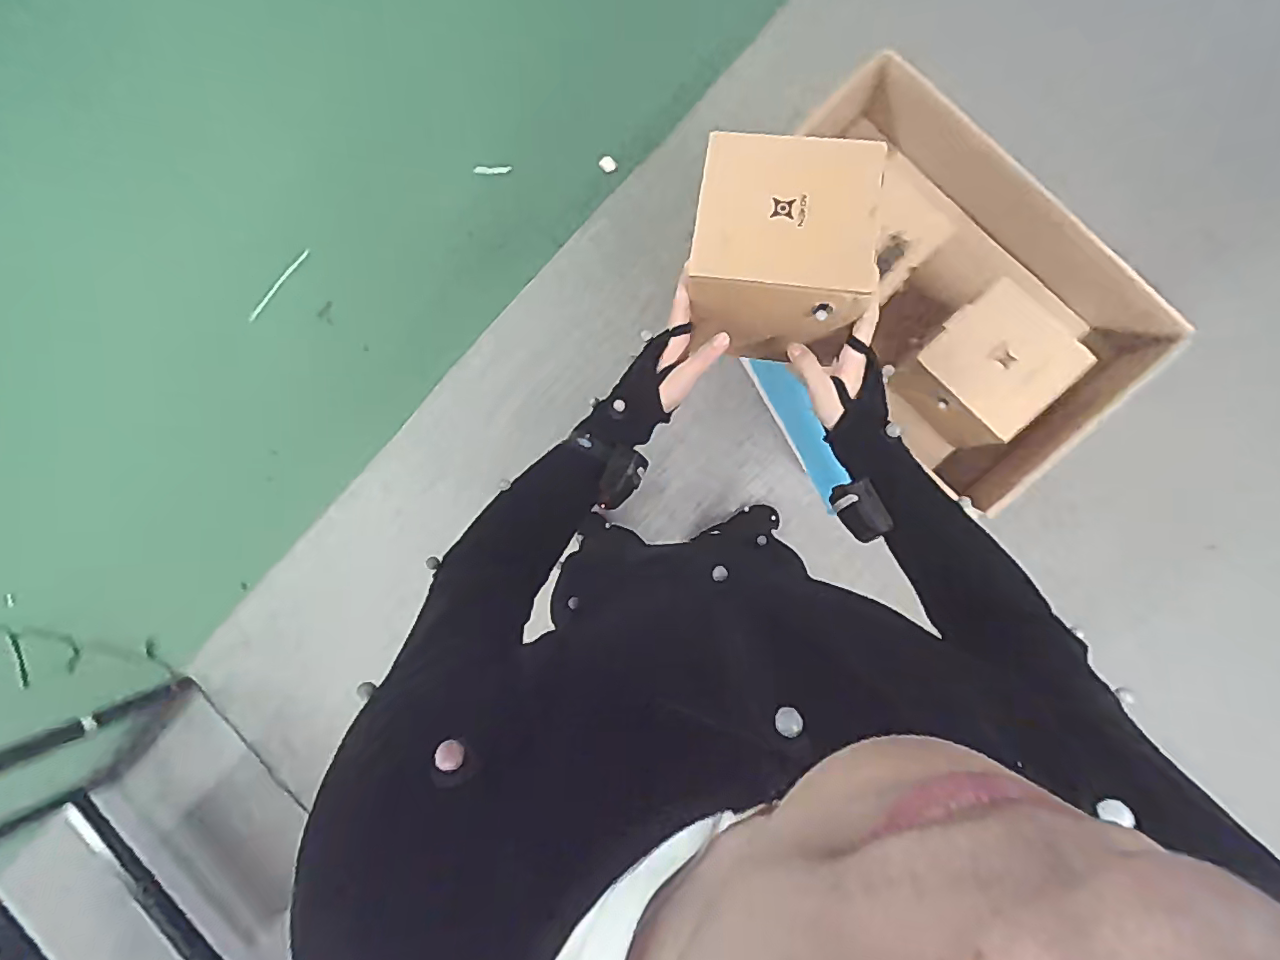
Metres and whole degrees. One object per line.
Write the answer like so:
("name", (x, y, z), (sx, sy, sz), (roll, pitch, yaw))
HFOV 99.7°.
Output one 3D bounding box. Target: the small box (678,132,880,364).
("small box", (0.140, -0.240, 0.590), (0.179, 0.176, 0.168), (8, 79, 7))
